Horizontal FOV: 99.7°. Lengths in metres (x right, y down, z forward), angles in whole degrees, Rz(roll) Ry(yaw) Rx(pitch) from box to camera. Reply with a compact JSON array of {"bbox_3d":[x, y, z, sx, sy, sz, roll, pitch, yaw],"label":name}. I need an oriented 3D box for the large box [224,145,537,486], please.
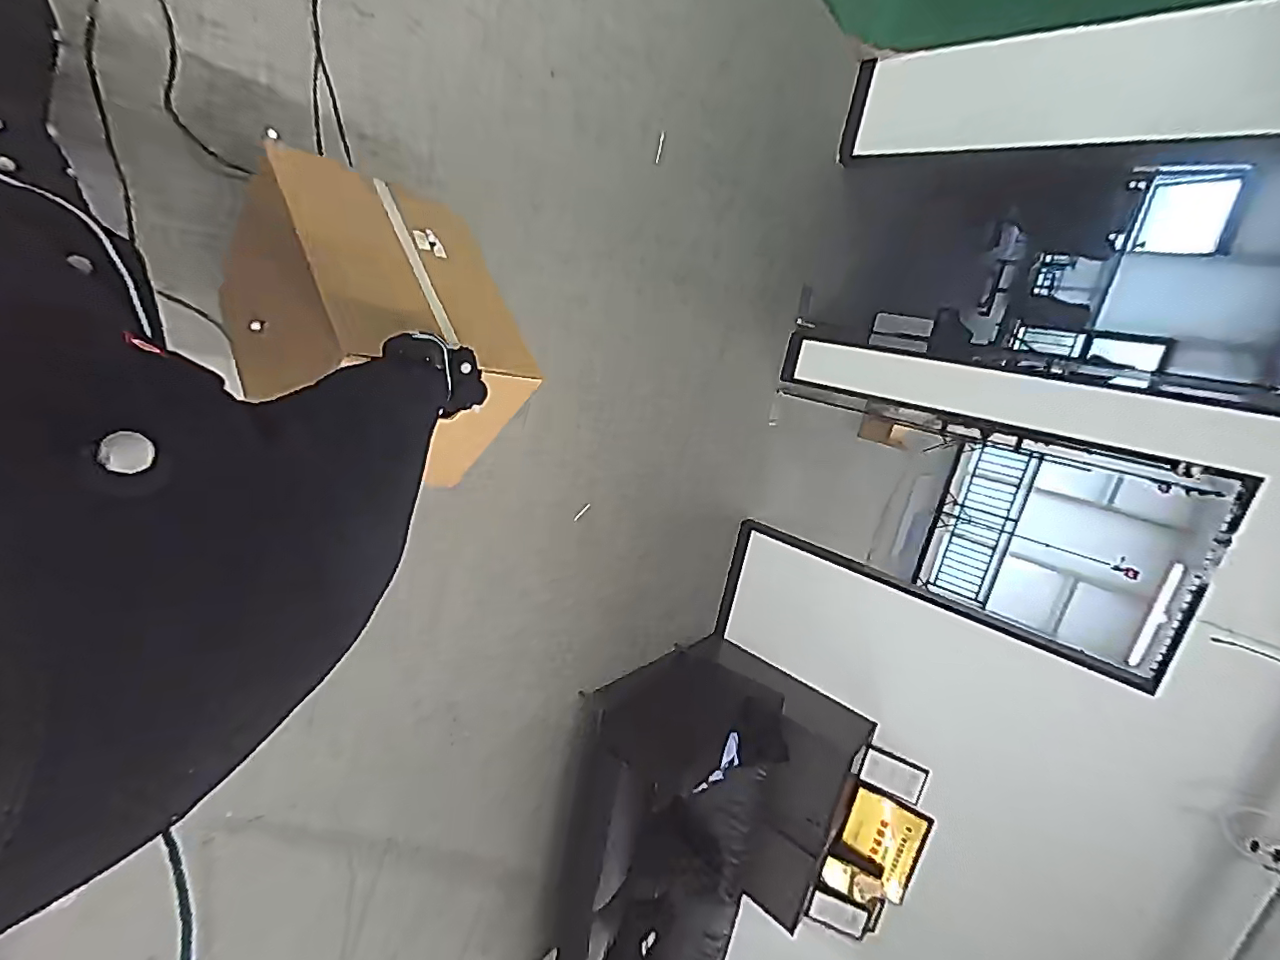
[{"bbox_3d":[-0.447,-0.244,0.911,0.320,0.408,0.320,-42,158,32],"label":"large box"}]
